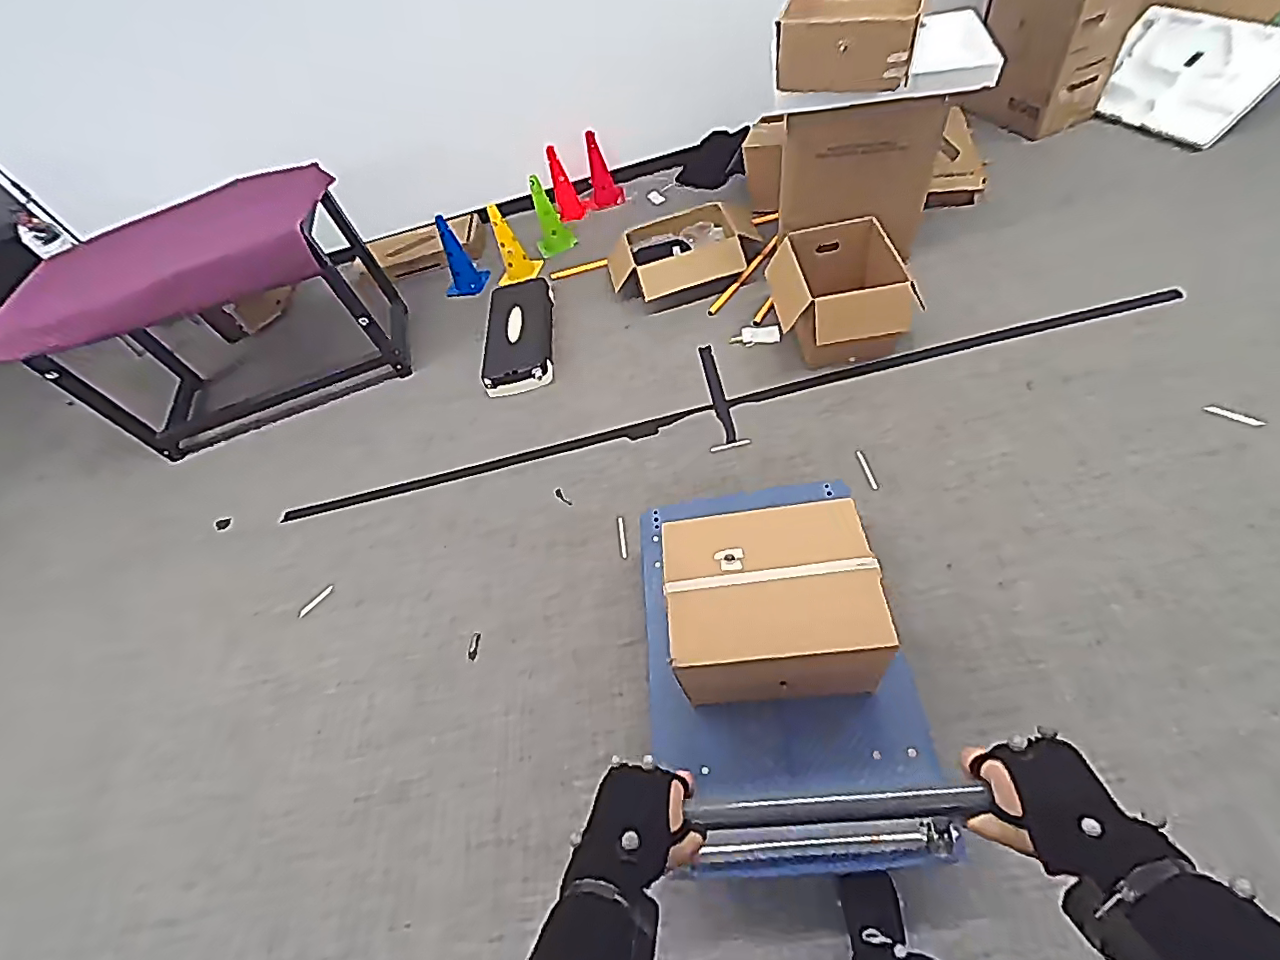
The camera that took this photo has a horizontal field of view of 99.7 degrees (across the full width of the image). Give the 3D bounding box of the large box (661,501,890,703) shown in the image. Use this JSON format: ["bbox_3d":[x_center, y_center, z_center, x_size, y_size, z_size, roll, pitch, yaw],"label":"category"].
[{"bbox_3d":[0.281,0.284,1.198,0.408,0.320,0.320,-9,53,9],"label":"large box"}]
